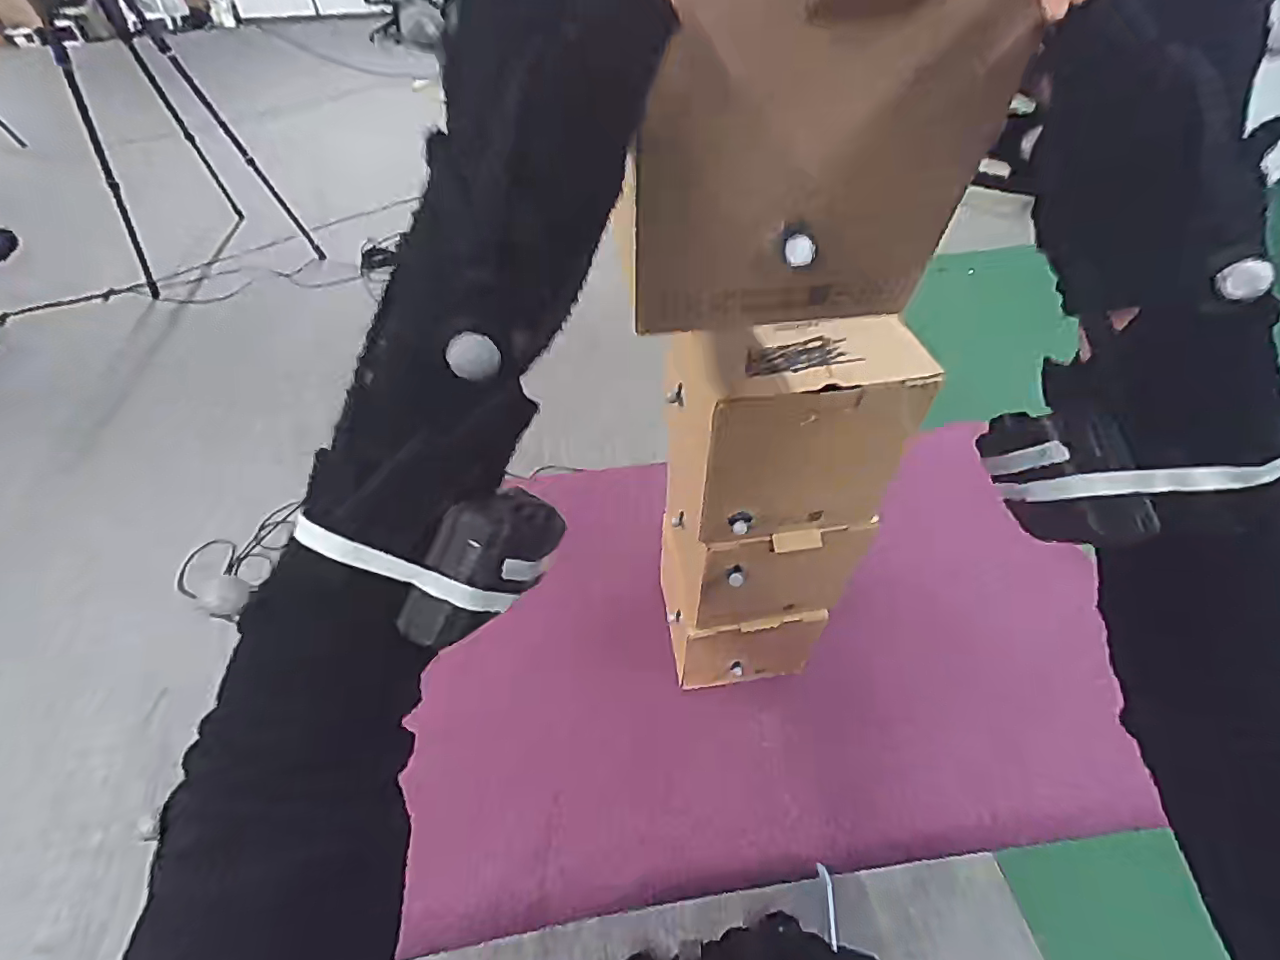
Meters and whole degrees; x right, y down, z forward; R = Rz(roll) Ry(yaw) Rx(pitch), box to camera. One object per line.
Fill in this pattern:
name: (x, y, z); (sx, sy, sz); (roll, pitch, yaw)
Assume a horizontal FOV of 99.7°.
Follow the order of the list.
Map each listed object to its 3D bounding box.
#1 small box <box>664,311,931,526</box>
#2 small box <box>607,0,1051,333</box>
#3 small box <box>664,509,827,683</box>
small box: (0.116, -0.073, 0.486); (0.168, 0.176, 0.179); (-7, 49, -5)
small box: (0.069, -0.209, 0.308); (0.168, 0.176, 0.179); (-6, 56, -4)
small box: (0.125, 0.150, 0.730); (0.168, 0.176, 0.179); (-7, 51, -4)
